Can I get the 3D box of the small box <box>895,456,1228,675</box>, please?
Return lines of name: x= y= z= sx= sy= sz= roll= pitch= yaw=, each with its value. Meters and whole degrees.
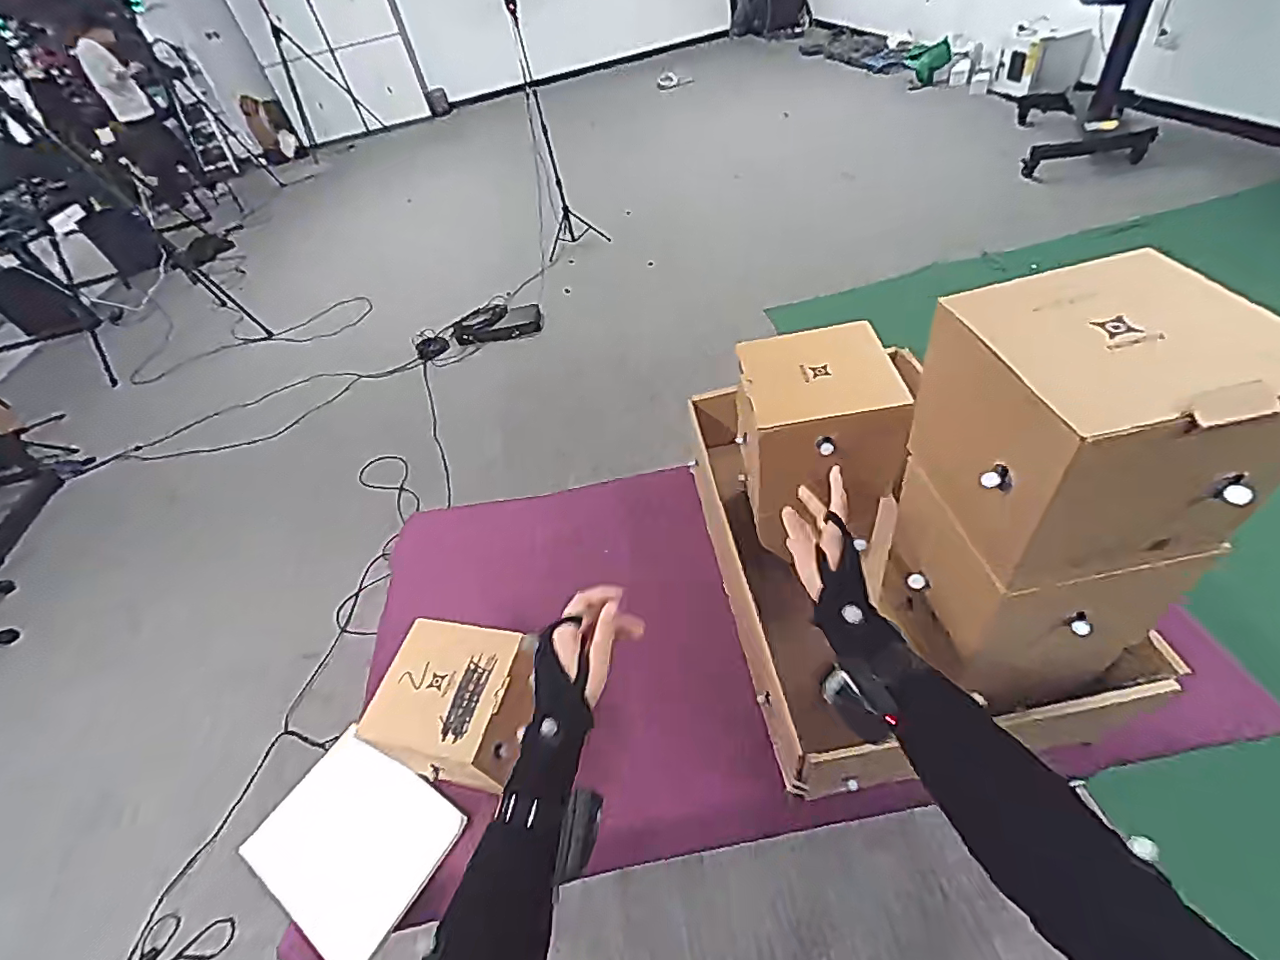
small box: x=0.378 y=0.070 z=0.533 sx=0.179 sy=0.176 sz=0.168 roll=-13 pitch=45 yaw=5

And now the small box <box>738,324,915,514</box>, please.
small box: x=0.231 y=-0.075 z=0.714 sx=0.179 sy=0.176 sz=0.168 roll=-10 pitch=48 yaw=7

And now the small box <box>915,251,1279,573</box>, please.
small box: x=0.341 y=-0.044 z=0.422 sx=0.168 sy=0.176 sz=0.179 roll=-12 pitch=45 yaw=5
